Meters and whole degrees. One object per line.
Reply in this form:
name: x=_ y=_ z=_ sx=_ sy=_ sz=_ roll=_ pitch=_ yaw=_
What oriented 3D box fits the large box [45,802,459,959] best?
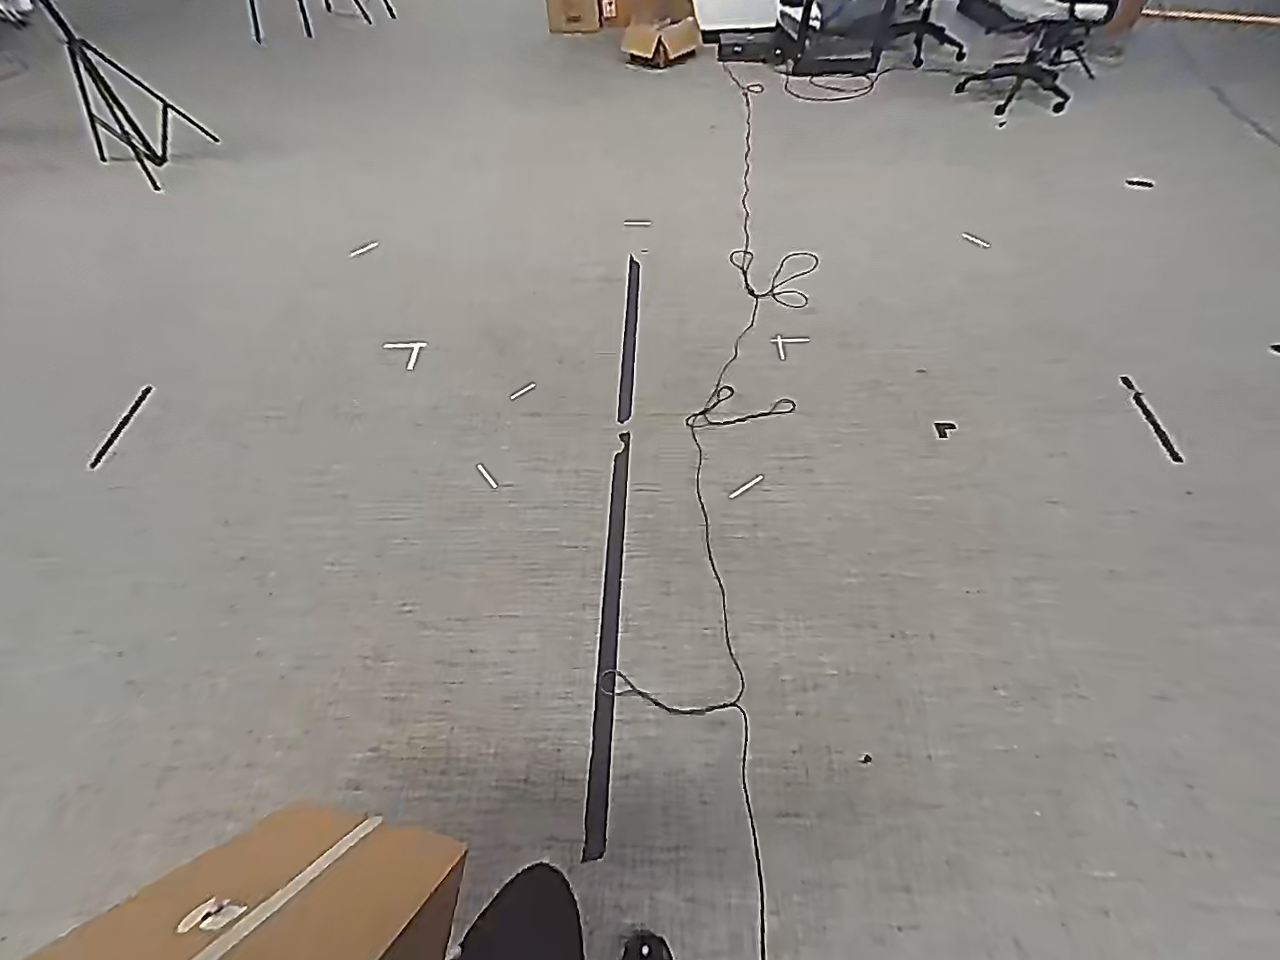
large box: x=-0.482 y=0.688 z=0.677 sx=0.320 sy=0.408 sz=0.320 roll=9 pitch=84 yaw=8
